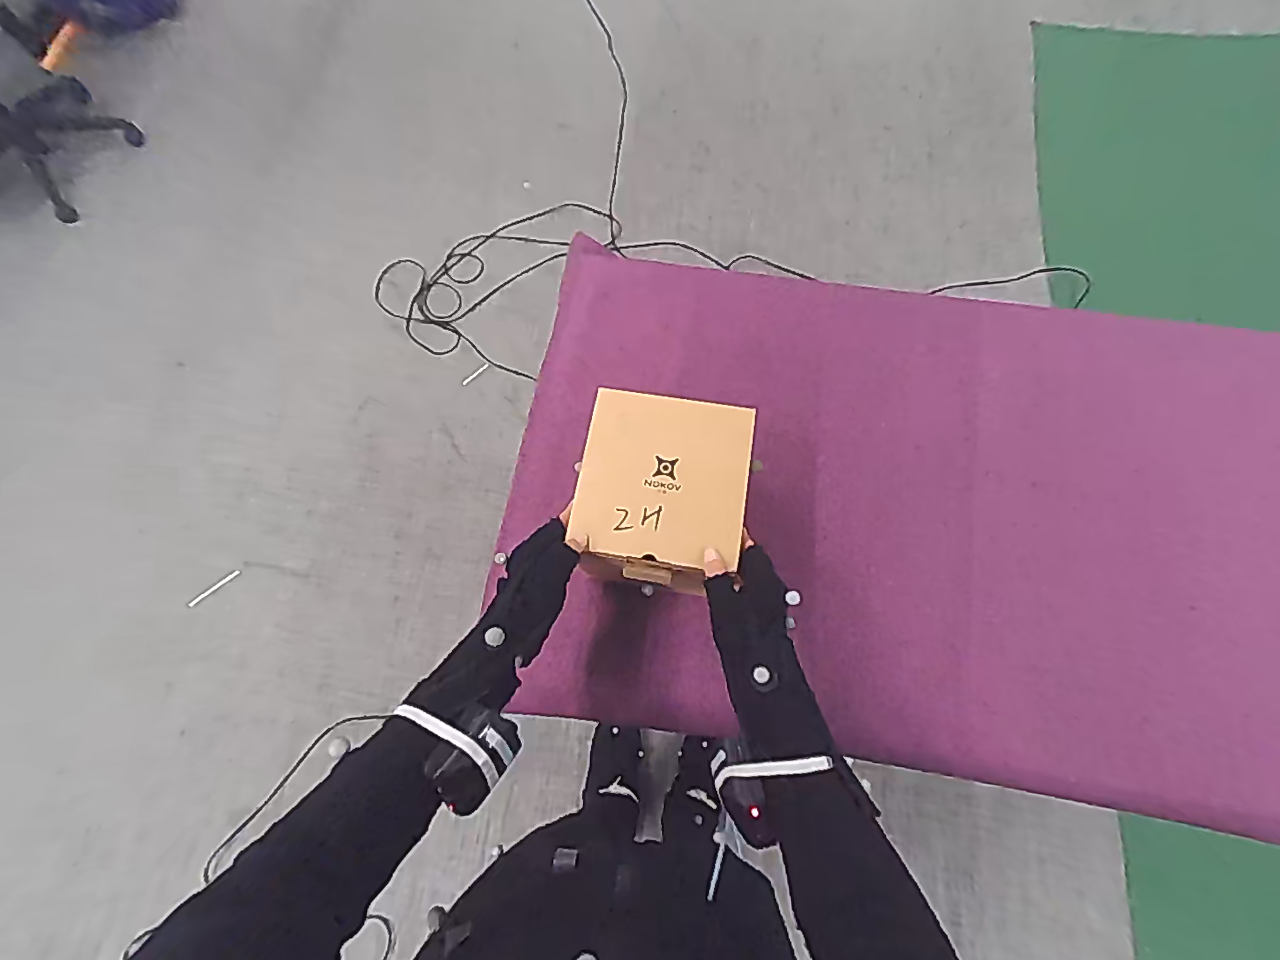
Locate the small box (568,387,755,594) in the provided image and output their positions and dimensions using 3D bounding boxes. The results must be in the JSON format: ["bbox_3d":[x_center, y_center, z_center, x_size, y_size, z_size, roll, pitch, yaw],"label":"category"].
[{"bbox_3d":[0.027,0.020,0.612,0.168,0.176,0.179,9,71,6],"label":"small box"}]
